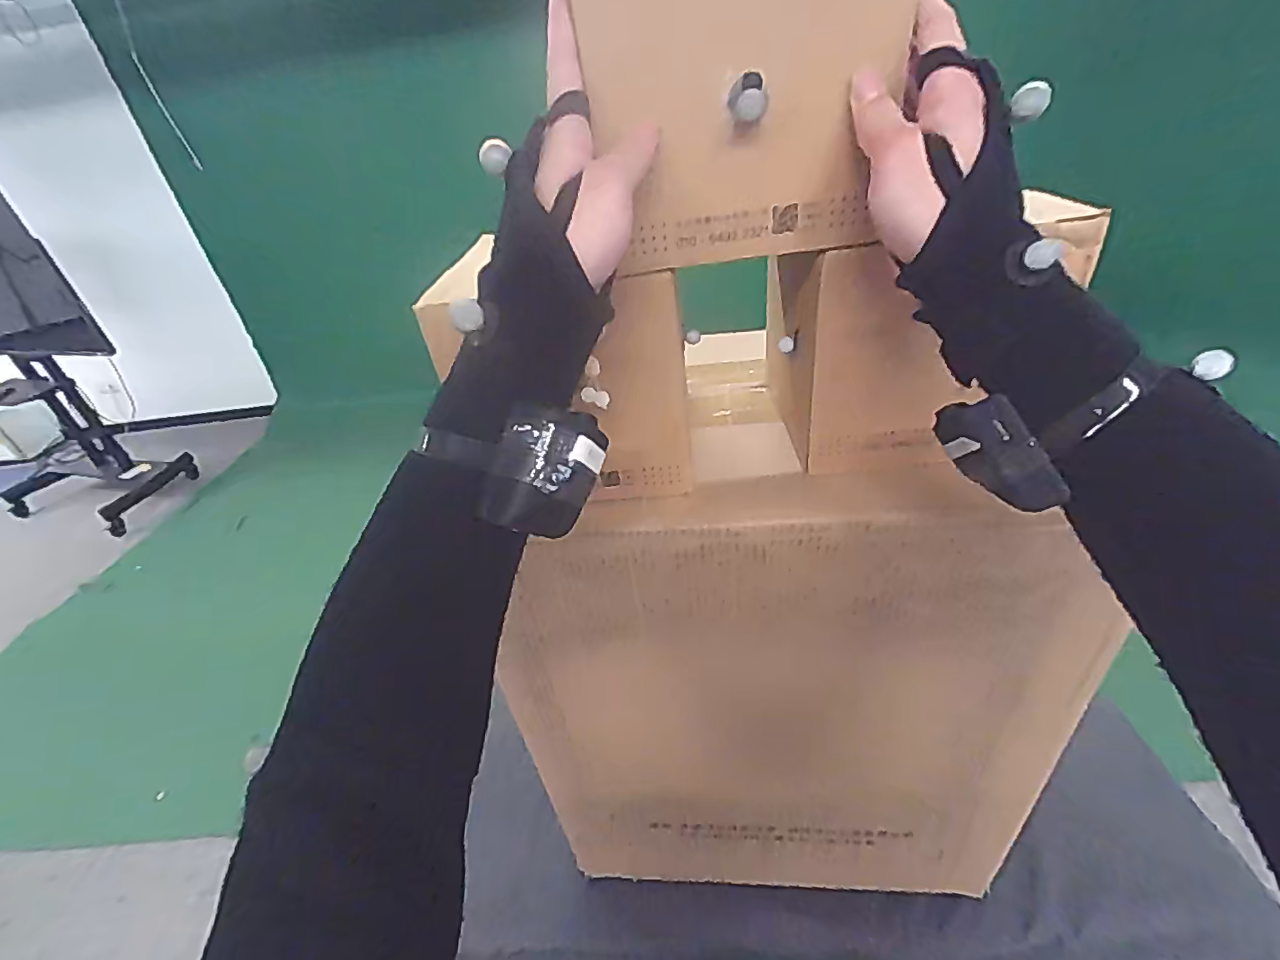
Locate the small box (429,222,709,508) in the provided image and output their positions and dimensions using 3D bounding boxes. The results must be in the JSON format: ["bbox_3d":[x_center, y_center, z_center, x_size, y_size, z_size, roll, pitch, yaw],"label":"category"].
[{"bbox_3d":[-0.033,-0.096,0.432,0.168,0.176,0.179,-3,37,9],"label":"small box"}]

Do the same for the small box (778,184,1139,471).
[{"bbox_3d":[0.211,-0.117,0.424,0.168,0.176,0.179,-4,36,2],"label":"small box"}]
